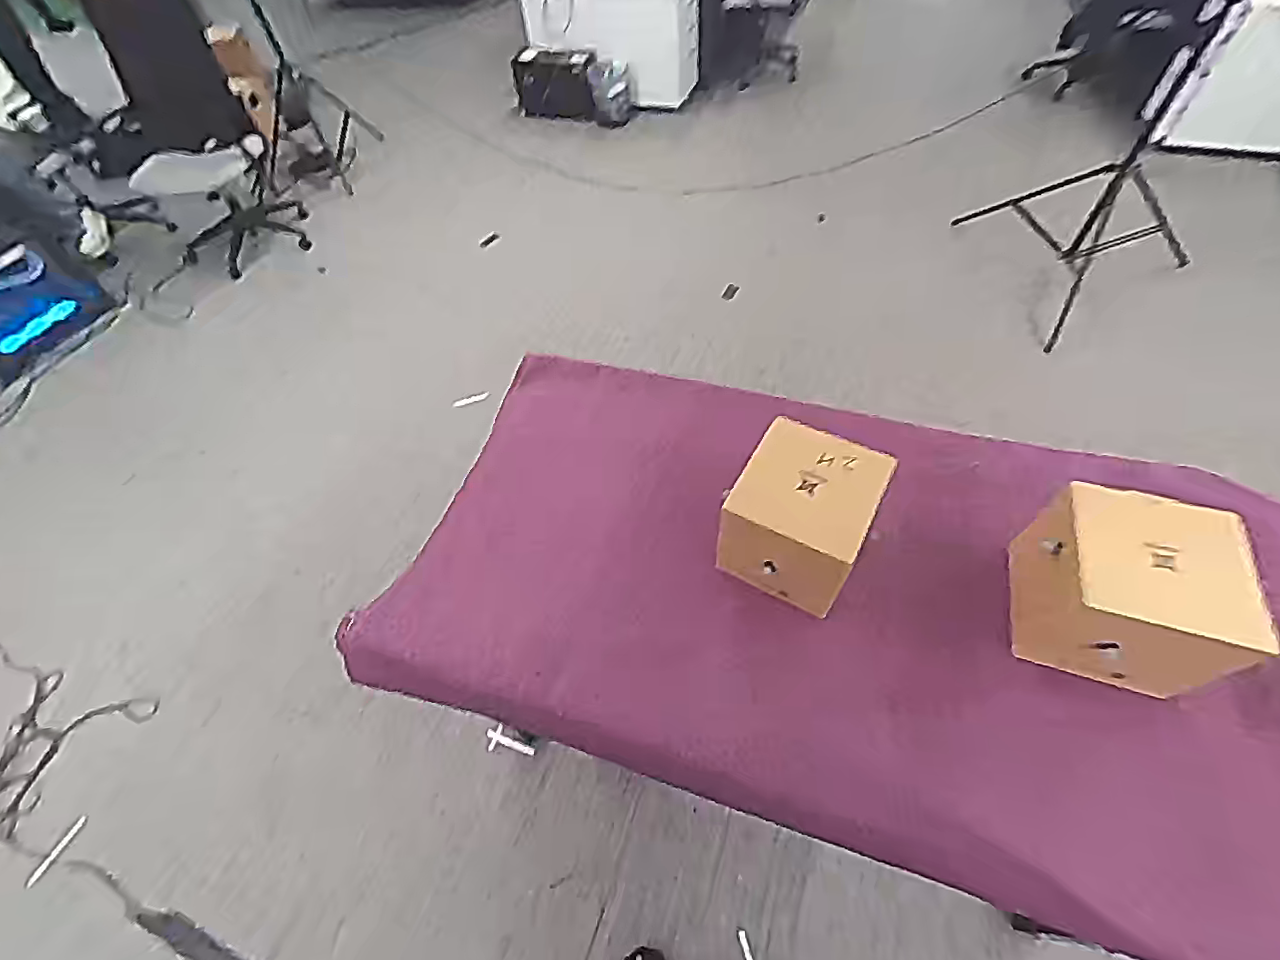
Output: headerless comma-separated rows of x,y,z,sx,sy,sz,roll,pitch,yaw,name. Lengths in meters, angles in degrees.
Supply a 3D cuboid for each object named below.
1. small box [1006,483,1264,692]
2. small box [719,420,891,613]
0.578,0.135,0.665,0.168,0.176,0.179,14,55,16,small box
0.220,0.055,0.754,0.168,0.176,0.179,25,59,20,small box
